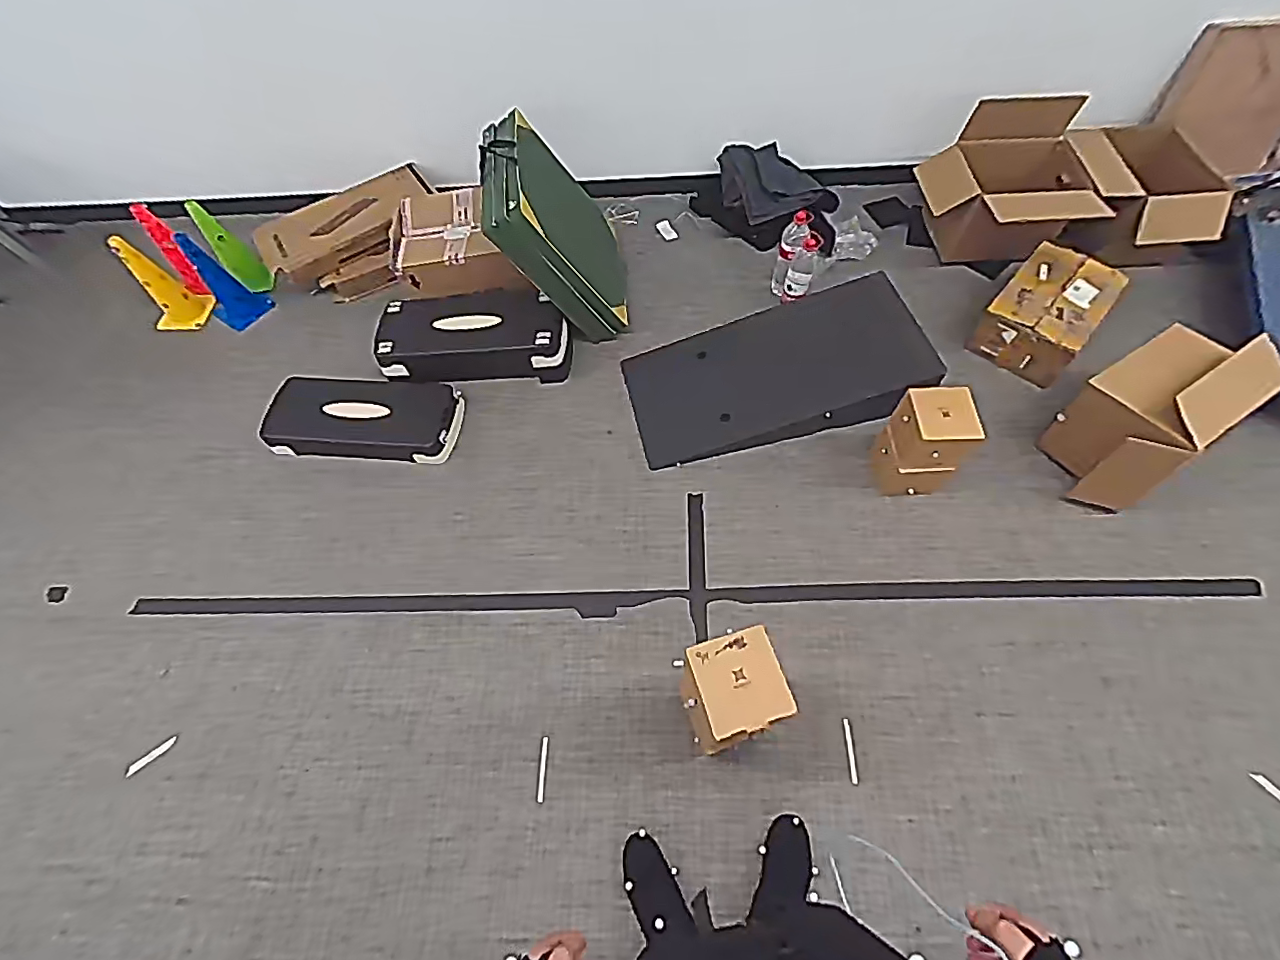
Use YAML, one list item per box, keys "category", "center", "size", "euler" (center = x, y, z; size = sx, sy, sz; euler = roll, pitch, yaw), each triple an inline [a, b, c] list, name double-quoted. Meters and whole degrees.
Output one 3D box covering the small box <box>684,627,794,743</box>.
- category: "small box"
  center: [0.193, 0.425, 1.108]
  size: [0.168, 0.176, 0.179]
  euler: [-16, 62, -6]
